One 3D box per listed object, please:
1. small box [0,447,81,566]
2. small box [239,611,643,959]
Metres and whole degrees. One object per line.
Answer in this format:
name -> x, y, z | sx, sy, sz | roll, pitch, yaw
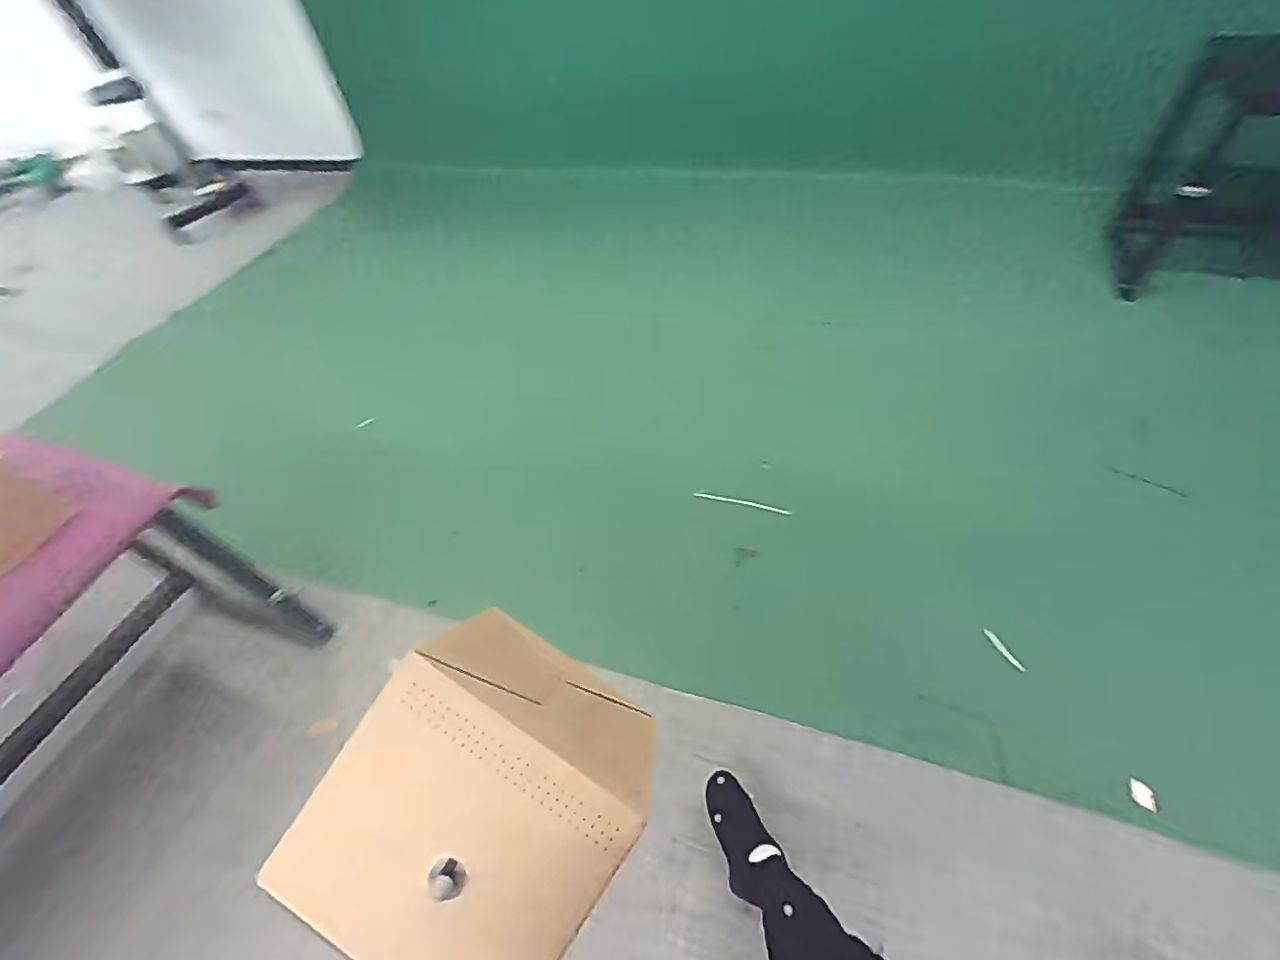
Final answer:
small box -> -1.245, 0.040, 1.019 | 0.168, 0.176, 0.179 | 13, 54, 19
small box -> -0.115, 0.216, 0.388 | 0.179, 0.168, 0.176 | 32, 87, 4
